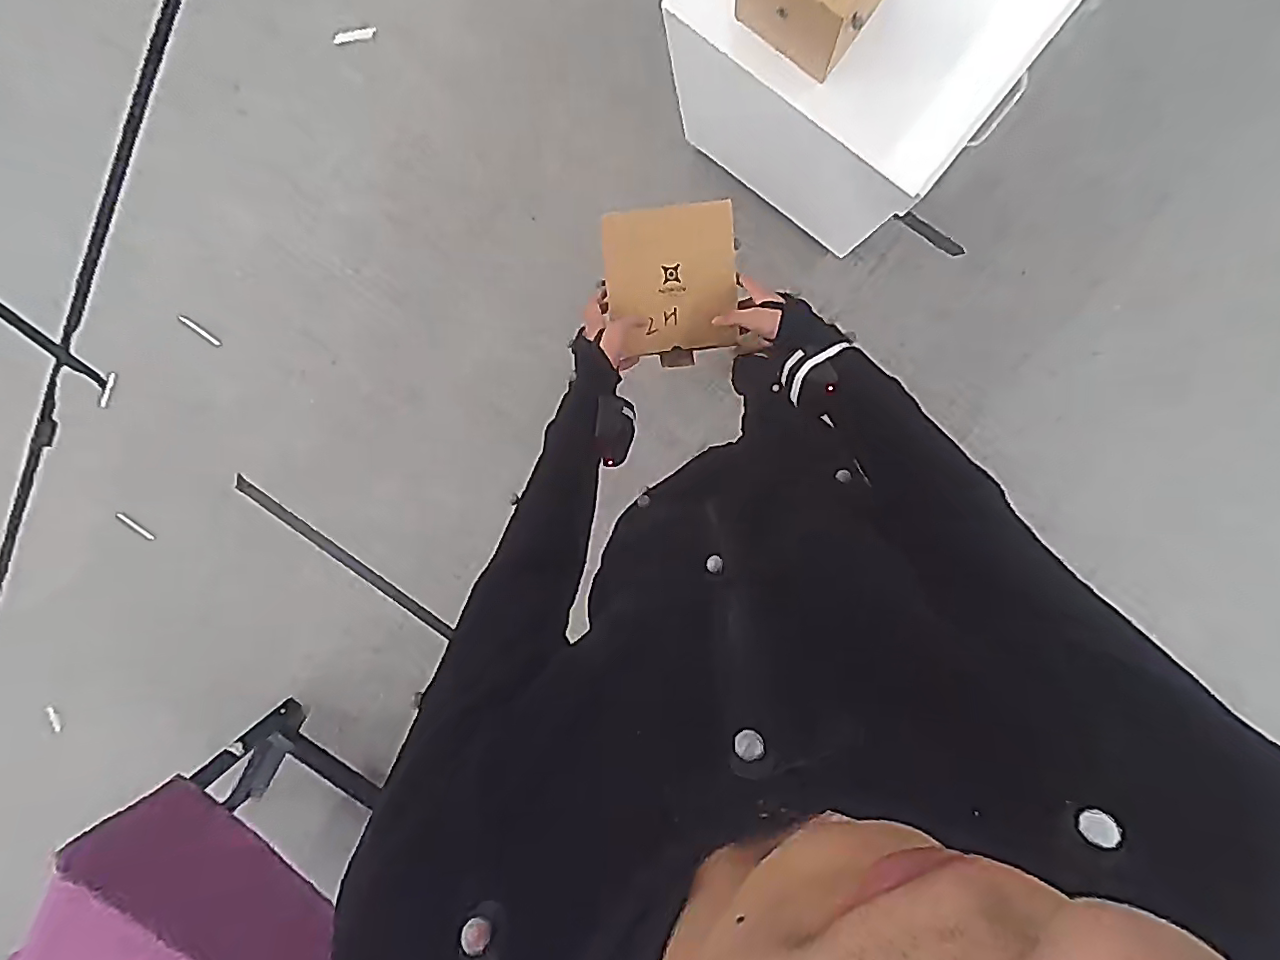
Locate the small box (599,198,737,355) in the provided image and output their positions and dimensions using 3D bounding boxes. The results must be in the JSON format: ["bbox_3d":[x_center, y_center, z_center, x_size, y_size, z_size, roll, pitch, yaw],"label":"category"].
[{"bbox_3d":[0.034,-0.273,0.754,0.168,0.176,0.179,-6,106,0],"label":"small box"}]
